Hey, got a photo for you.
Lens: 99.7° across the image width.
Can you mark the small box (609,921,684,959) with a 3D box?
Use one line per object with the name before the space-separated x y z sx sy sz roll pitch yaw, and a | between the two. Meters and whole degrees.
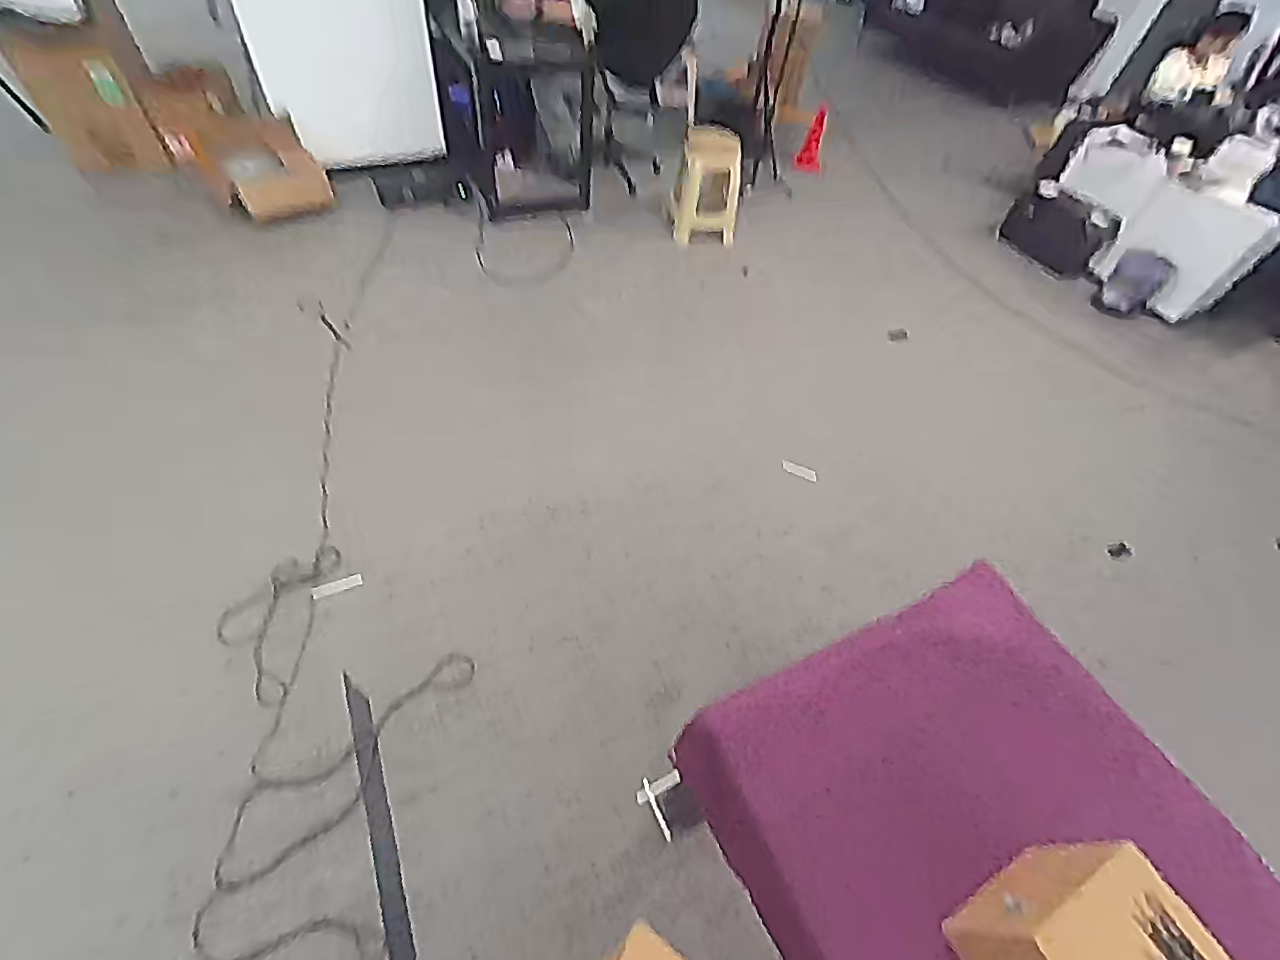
small box | 0.003 0.660 0.602 0.179 0.176 0.168 31 34 20
